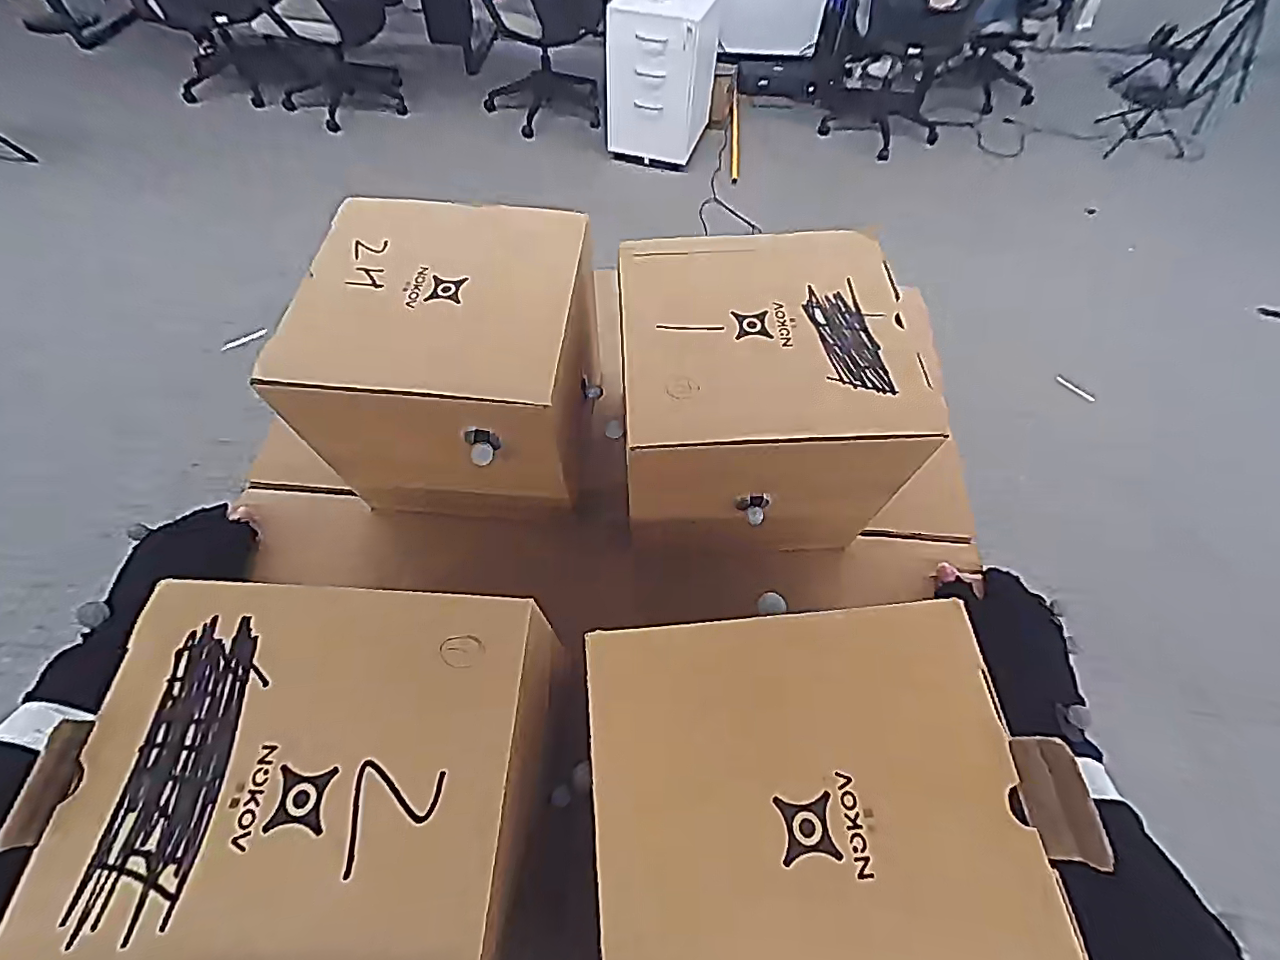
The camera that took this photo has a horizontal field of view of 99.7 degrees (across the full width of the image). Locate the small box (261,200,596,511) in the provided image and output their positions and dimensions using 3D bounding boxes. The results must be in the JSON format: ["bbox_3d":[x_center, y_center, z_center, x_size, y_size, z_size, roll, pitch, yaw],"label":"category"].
[{"bbox_3d":[-0.133,-0.086,0.426,0.179,0.176,0.168,5,61,3],"label":"small box"}]
